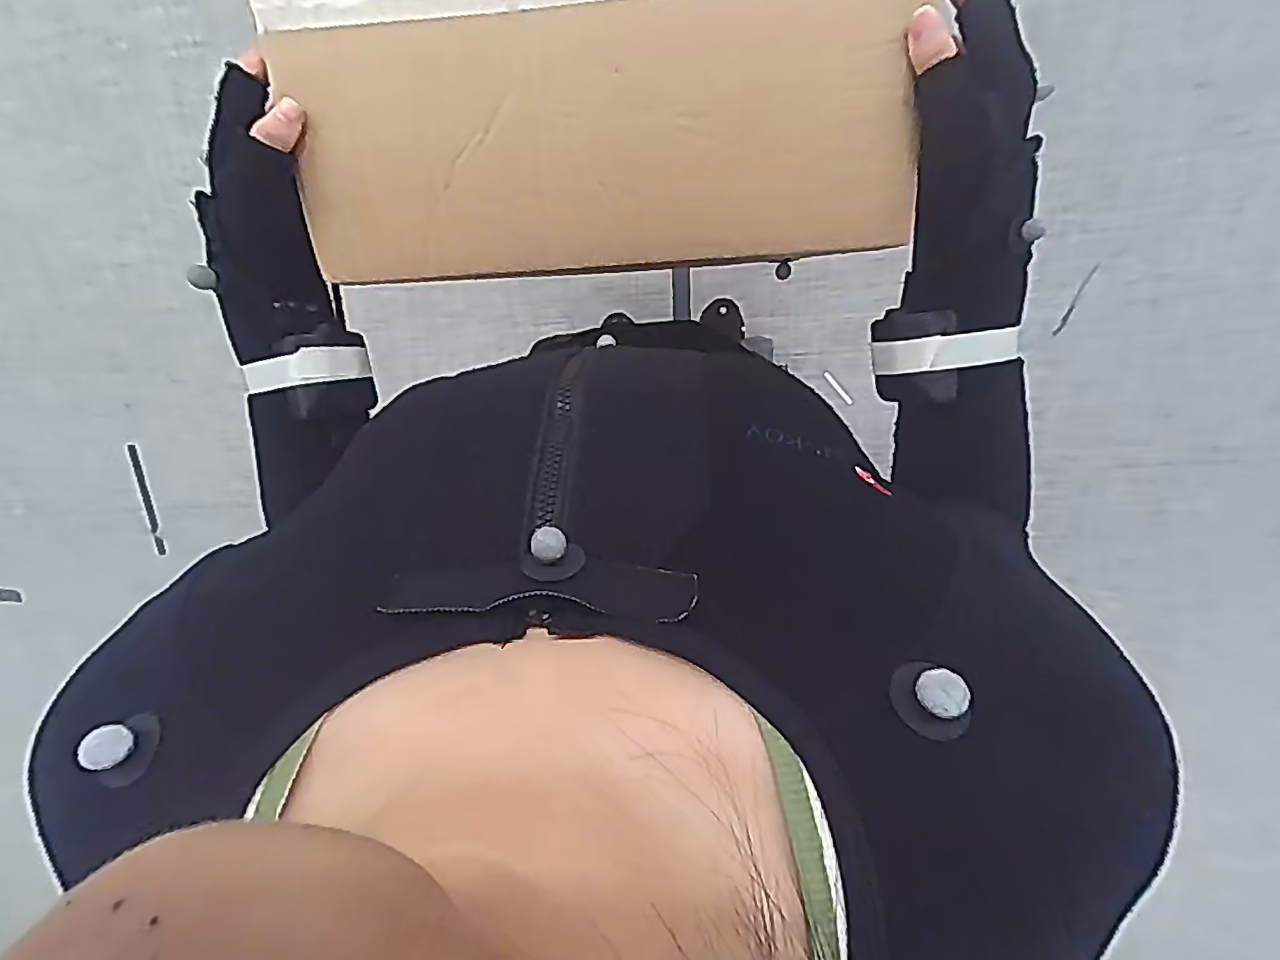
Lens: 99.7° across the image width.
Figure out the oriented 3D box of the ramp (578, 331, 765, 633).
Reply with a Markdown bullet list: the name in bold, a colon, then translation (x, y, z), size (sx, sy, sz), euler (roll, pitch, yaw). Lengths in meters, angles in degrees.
- **ramp**: translation (0.116, 0.072, 1.624), size (0.509, 0.206, 0.991), euler (-4, 107, 4)

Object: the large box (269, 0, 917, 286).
- **large box**: translation (-0.025, -0.350, 0.466), size (0.408, 0.320, 0.320), euler (-3, 111, 3)
